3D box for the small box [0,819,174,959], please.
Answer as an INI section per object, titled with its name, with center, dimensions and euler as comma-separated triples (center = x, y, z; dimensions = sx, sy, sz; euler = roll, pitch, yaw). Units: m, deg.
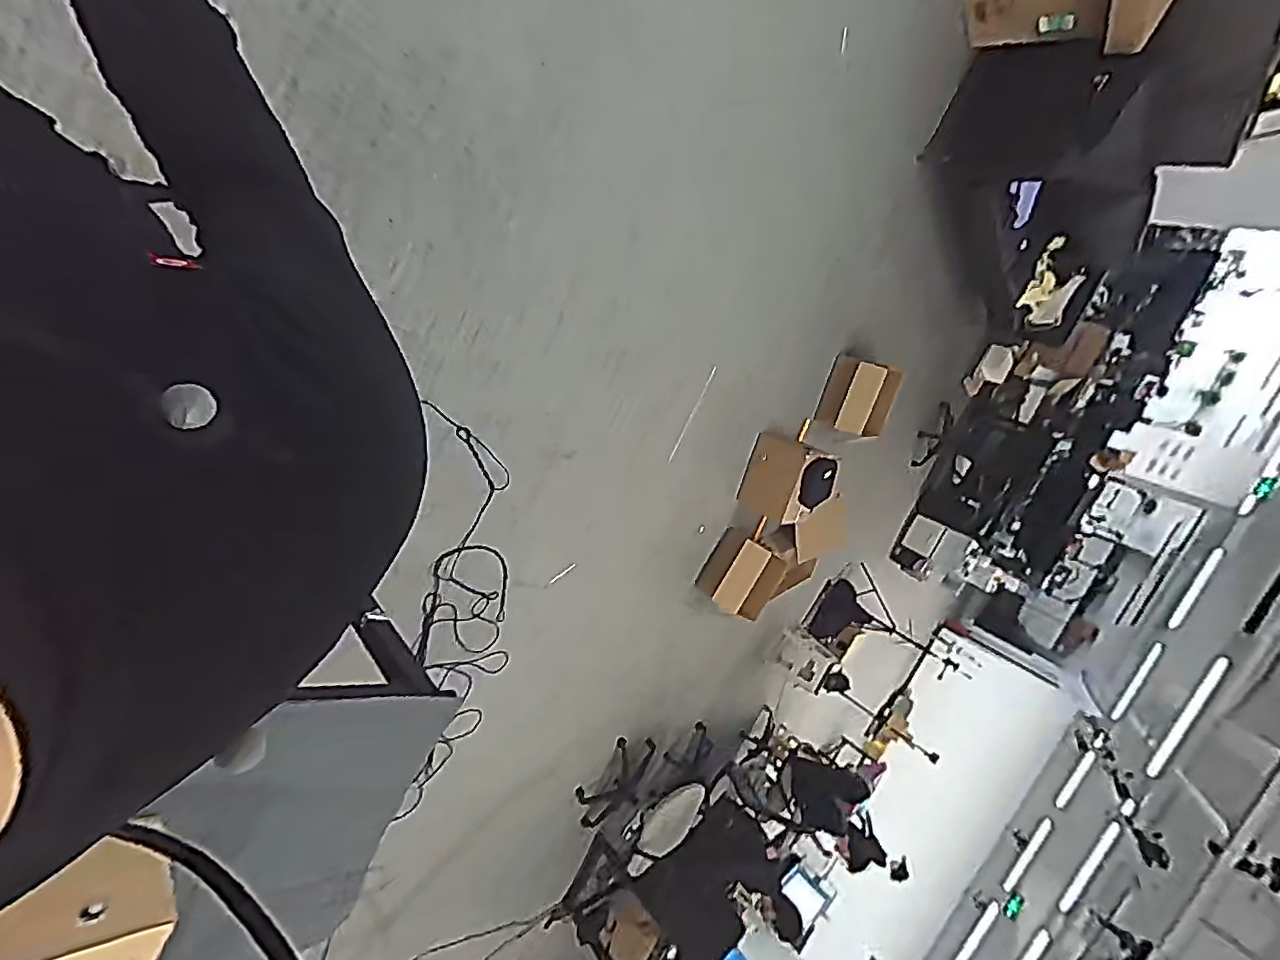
[small box]
center = -0.718, 0.558, 0.661
dimensions = 0.179, 0.176, 0.168
euler = 21, 99, -51
